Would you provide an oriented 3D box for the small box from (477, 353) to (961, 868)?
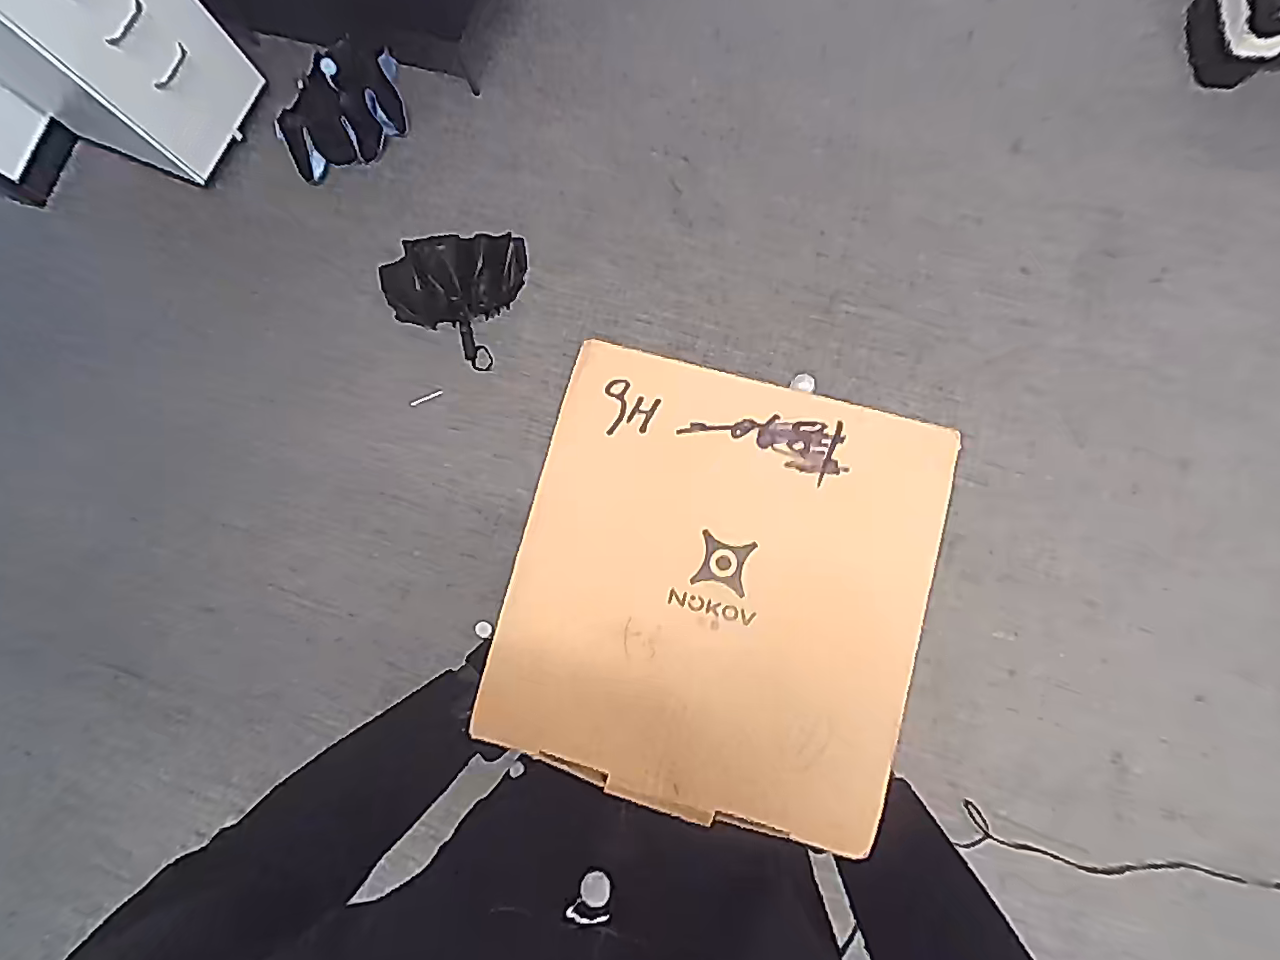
[{"bbox_3d":[0.037,0.054,0.300,0.168,0.176,0.179,14,86,5],"label":"small box"}]
